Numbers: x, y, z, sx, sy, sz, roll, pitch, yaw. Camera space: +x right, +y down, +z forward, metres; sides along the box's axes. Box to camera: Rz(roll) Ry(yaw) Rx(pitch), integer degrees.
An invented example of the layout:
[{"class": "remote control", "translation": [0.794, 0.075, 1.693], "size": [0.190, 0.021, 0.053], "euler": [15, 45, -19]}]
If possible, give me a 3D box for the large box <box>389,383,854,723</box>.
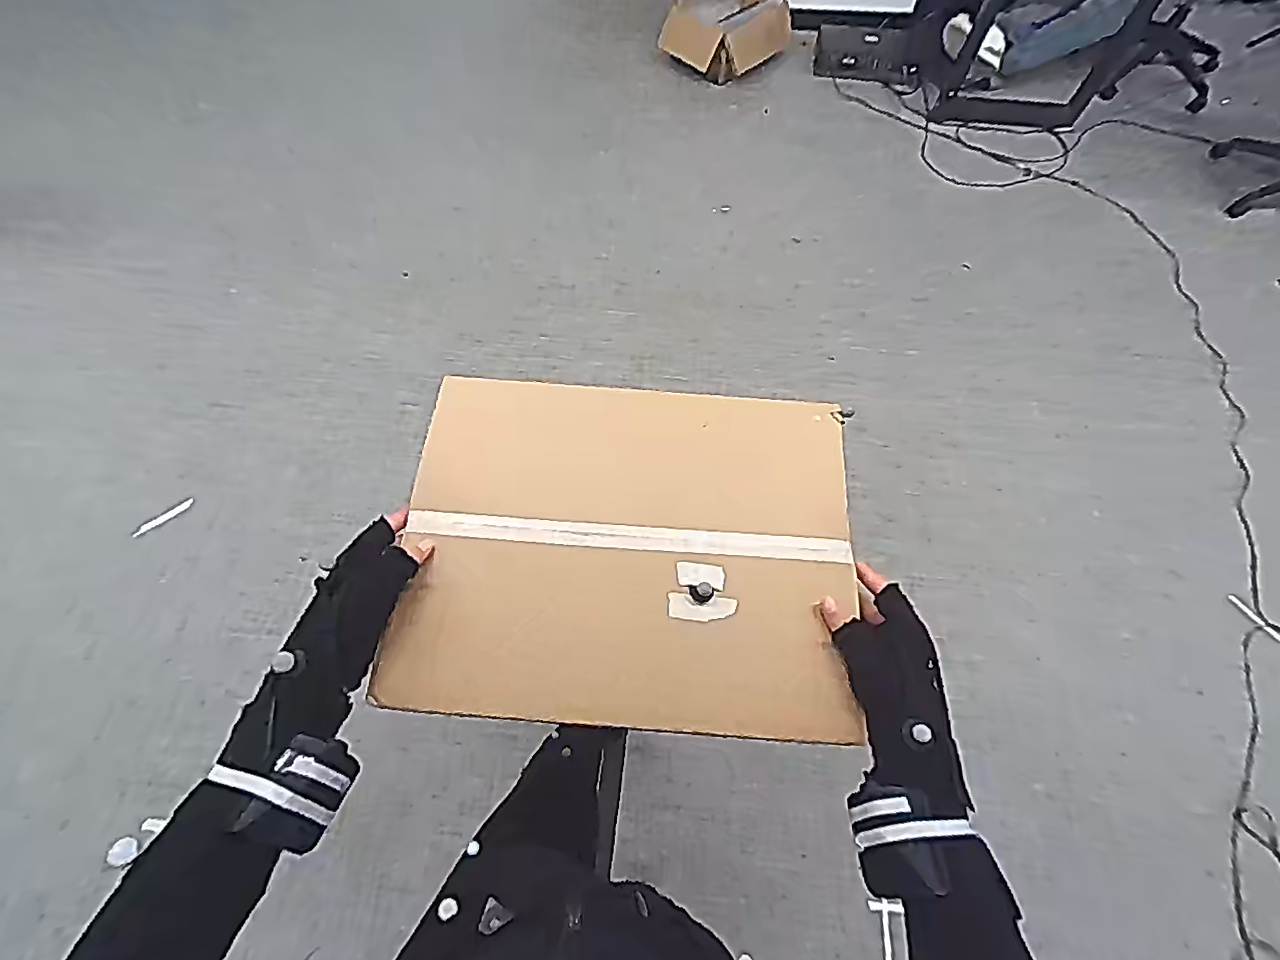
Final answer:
[{"class": "large box", "translation": [-0.013, 0.108, 0.648], "size": [0.408, 0.320, 0.320], "euler": [5, 68, 0]}]
